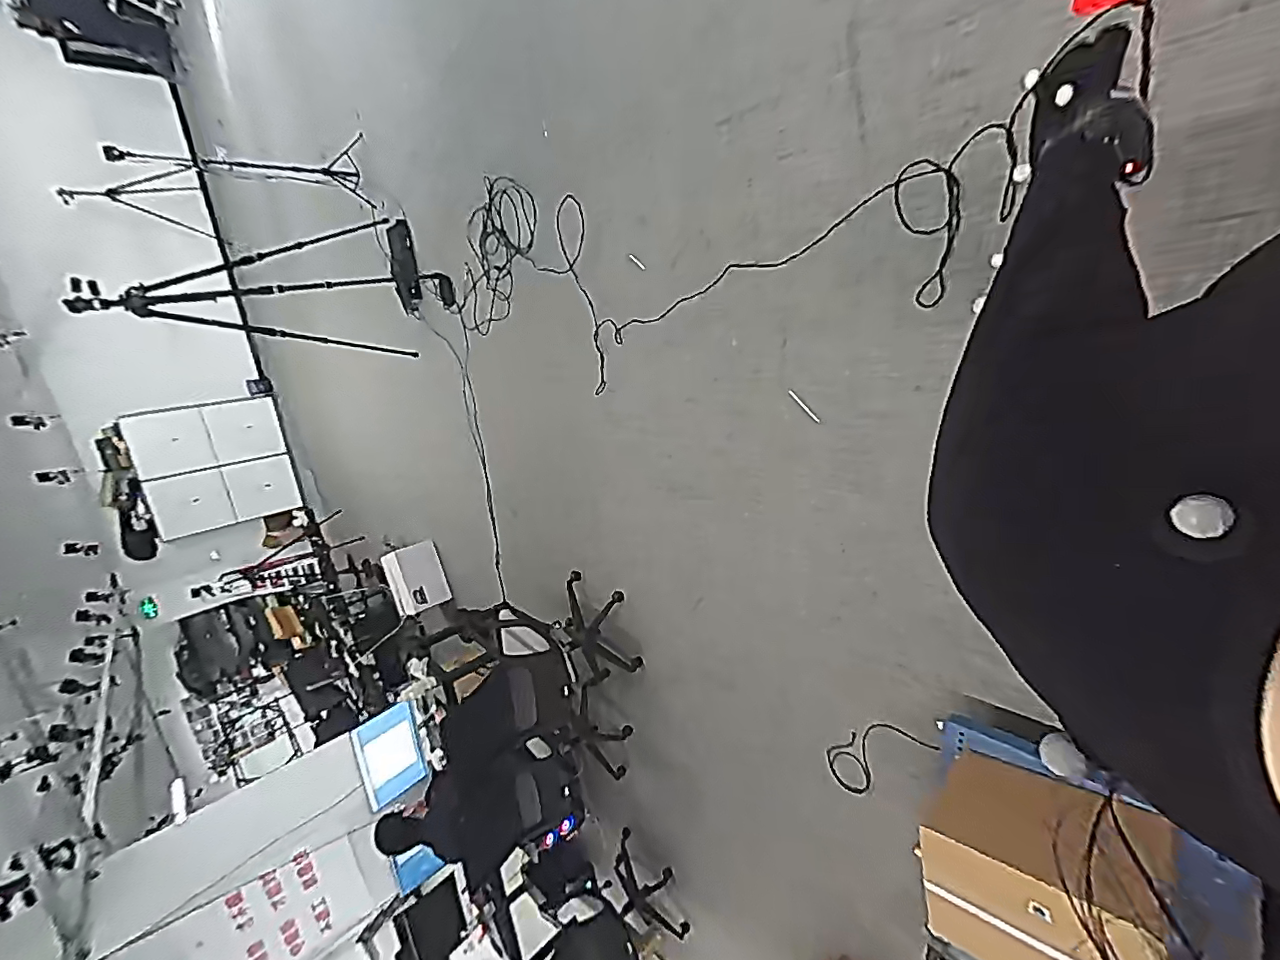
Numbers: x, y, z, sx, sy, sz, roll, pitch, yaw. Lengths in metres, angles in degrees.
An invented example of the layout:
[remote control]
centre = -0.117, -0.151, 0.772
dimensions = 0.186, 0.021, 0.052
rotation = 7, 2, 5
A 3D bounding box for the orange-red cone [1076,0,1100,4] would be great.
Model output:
[orange-red cone]
centre = 0.780, -0.943, 0.841
dimensions = 0.198, 0.360, 0.199
rotation = 16, 116, 44
